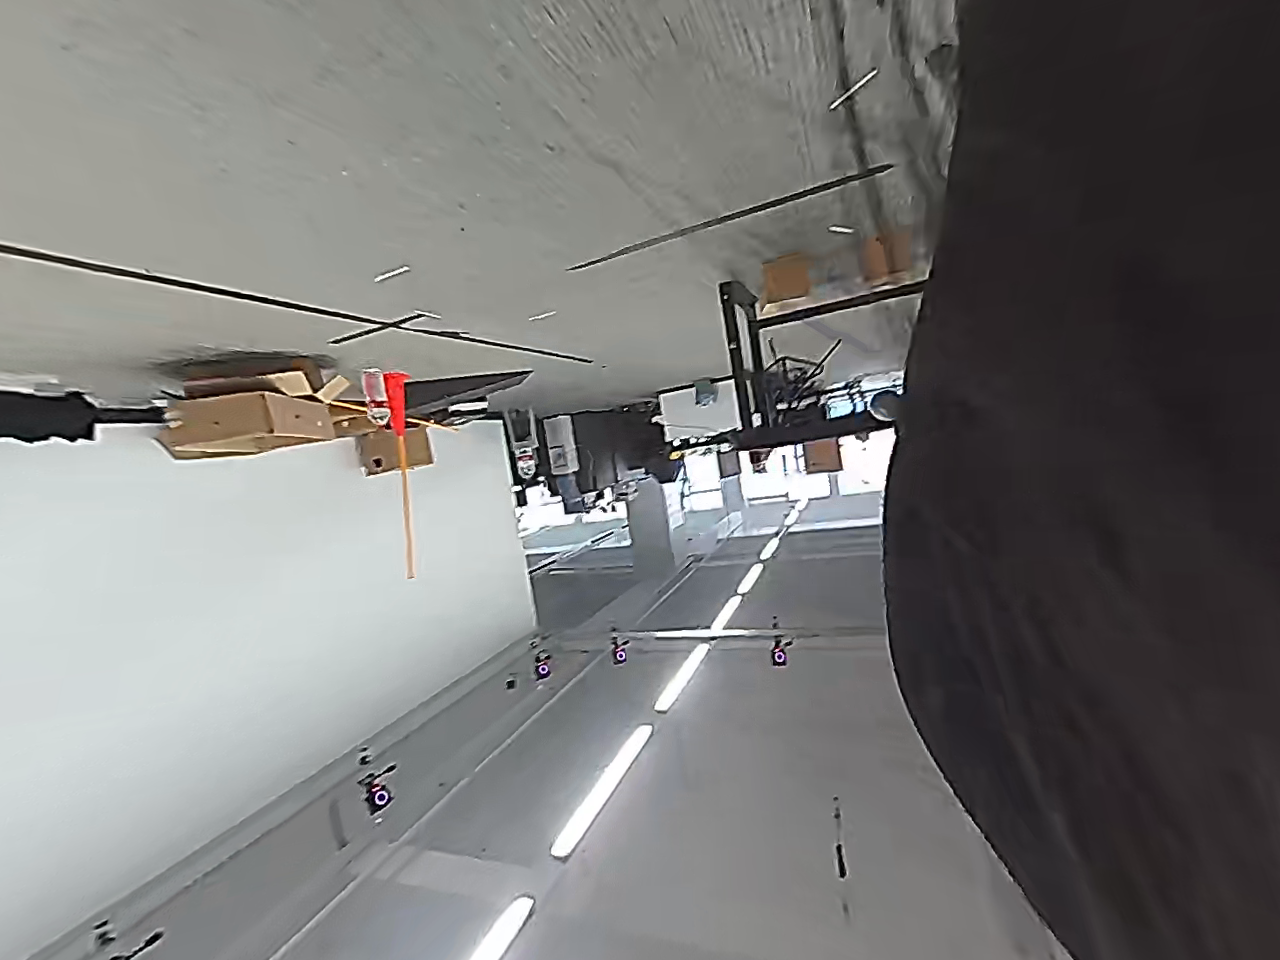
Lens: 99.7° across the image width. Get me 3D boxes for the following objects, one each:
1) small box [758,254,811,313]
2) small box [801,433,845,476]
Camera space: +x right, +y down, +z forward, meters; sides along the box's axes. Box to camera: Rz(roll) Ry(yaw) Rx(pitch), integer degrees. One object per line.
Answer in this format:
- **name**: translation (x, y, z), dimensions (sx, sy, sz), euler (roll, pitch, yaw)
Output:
- **small box**: translation (0.590, -0.809, 2.230), dimensions (0.179, 0.176, 0.168), euler (-10, -178, 6)
- **small box**: translation (0.838, -0.120, 2.482), dimensions (0.179, 0.176, 0.168), euler (-8, -176, 21)
